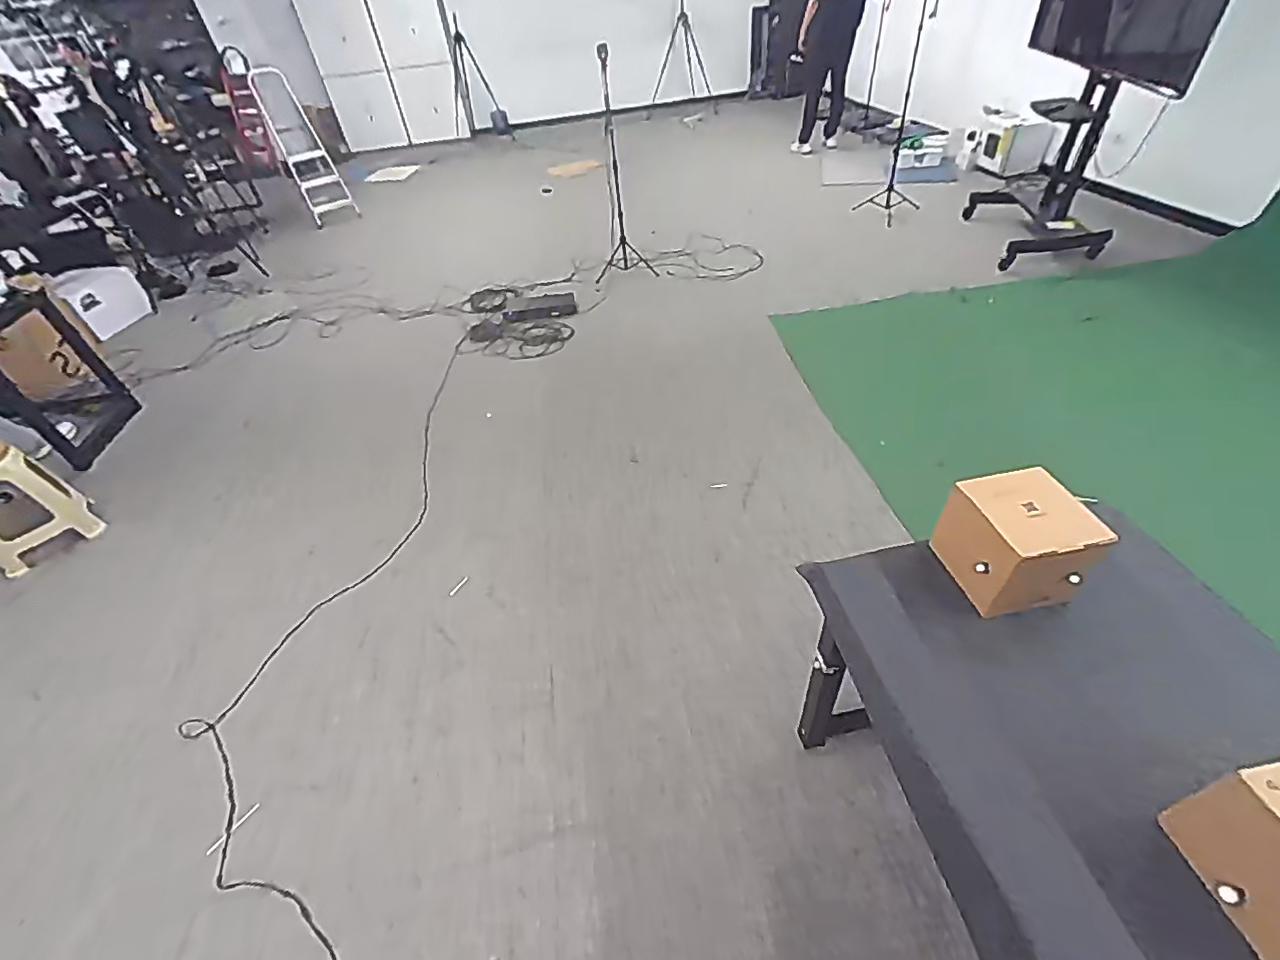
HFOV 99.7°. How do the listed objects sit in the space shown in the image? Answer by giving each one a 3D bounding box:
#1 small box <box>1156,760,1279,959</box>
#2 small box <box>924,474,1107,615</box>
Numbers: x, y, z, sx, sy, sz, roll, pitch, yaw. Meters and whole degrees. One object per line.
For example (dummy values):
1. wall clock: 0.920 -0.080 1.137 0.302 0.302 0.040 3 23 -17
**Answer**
1. small box: 0.754 0.424 0.595 0.168 0.176 0.179 -9 42 -5
2. small box: 0.639 0.117 0.948 0.168 0.176 0.179 -9 41 -8
